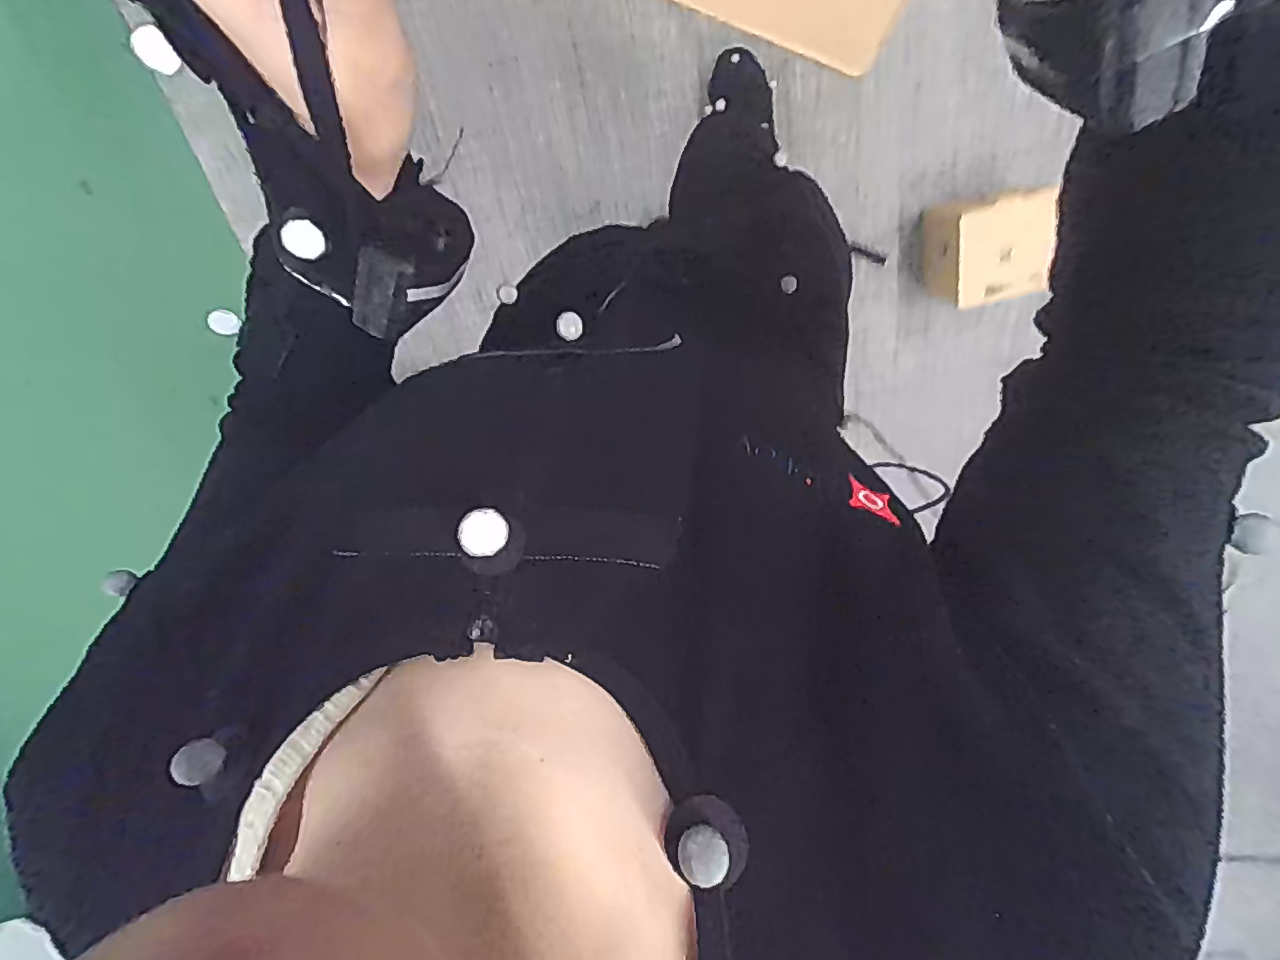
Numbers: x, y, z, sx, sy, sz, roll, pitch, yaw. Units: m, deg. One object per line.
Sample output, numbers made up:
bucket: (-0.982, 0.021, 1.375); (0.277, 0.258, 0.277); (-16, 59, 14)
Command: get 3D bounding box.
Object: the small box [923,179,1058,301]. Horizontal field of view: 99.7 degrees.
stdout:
small box: (0.673, -0.471, 1.058); (0.168, 0.176, 0.179); (-12, 118, 10)
